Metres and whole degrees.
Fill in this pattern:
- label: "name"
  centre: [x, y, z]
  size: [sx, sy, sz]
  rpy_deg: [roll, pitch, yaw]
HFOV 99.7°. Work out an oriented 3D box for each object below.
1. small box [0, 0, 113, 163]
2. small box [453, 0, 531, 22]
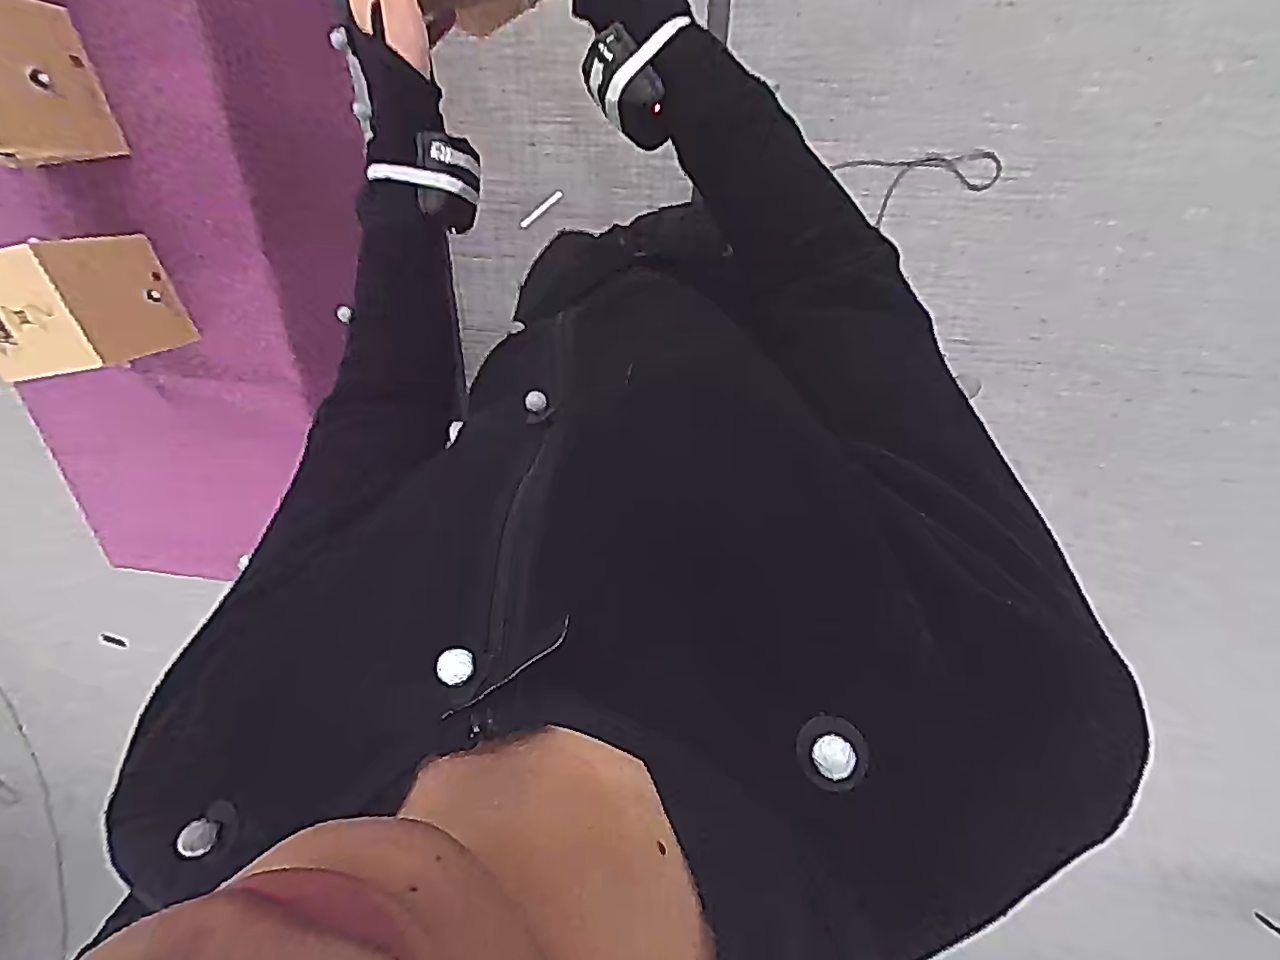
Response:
- label: "small box"
  centre: [-0.833, -0.502, 0.680]
  size: [0.179, 0.176, 0.168]
  rpy_deg: [0, 118, 10]
- label: "small box"
  centre: [-0.130, -0.508, 0.416]
  size: [0.168, 0.176, 0.179]
  rpy_deg: [-14, 115, 21]
